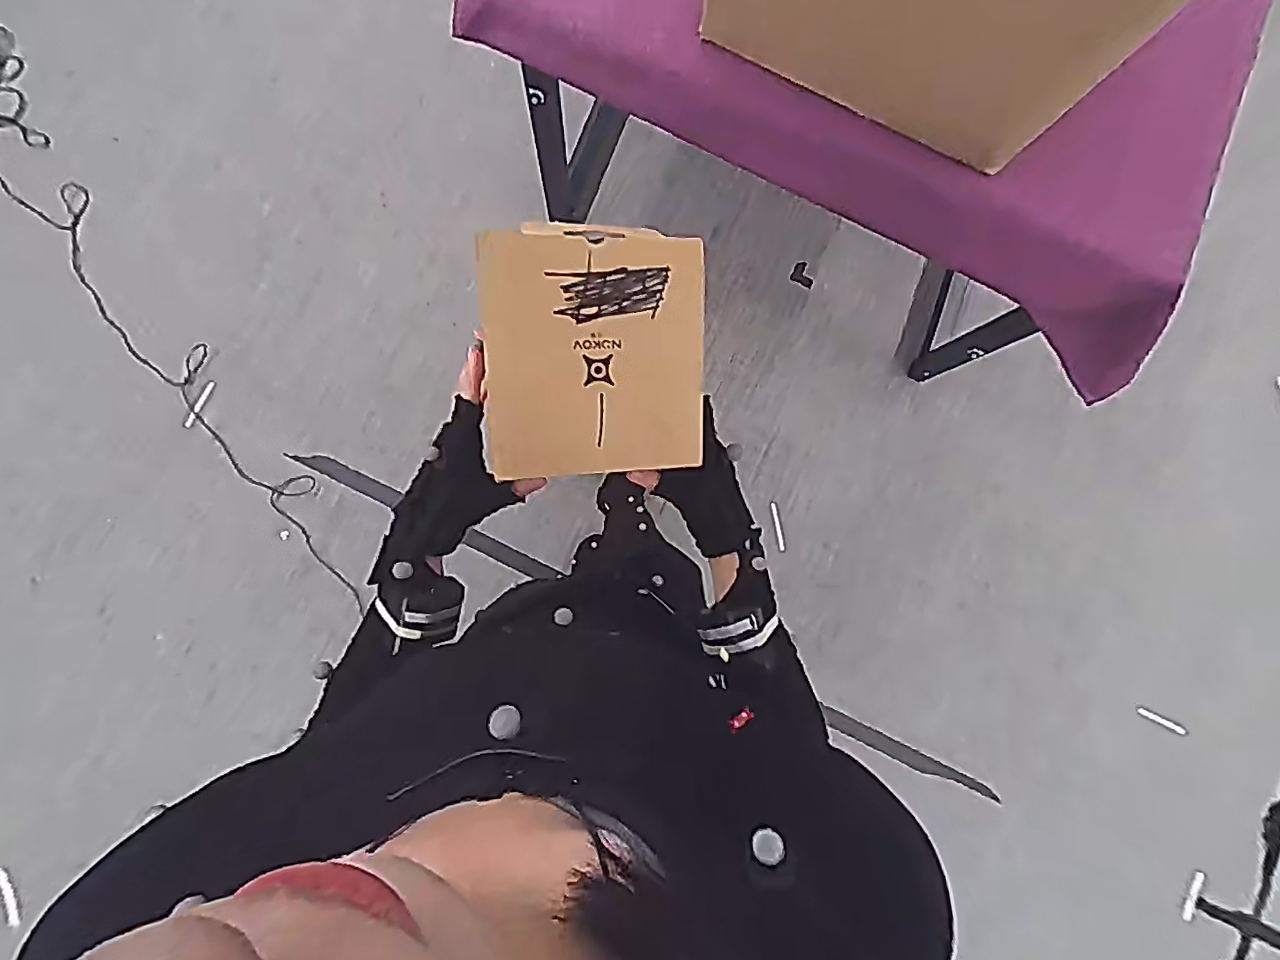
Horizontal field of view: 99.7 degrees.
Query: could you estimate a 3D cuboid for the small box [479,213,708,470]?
[{"bbox_3d":[-0.049,-0.110,0.469,0.168,0.176,0.179,-5,101,-15],"label":"small box"}]
